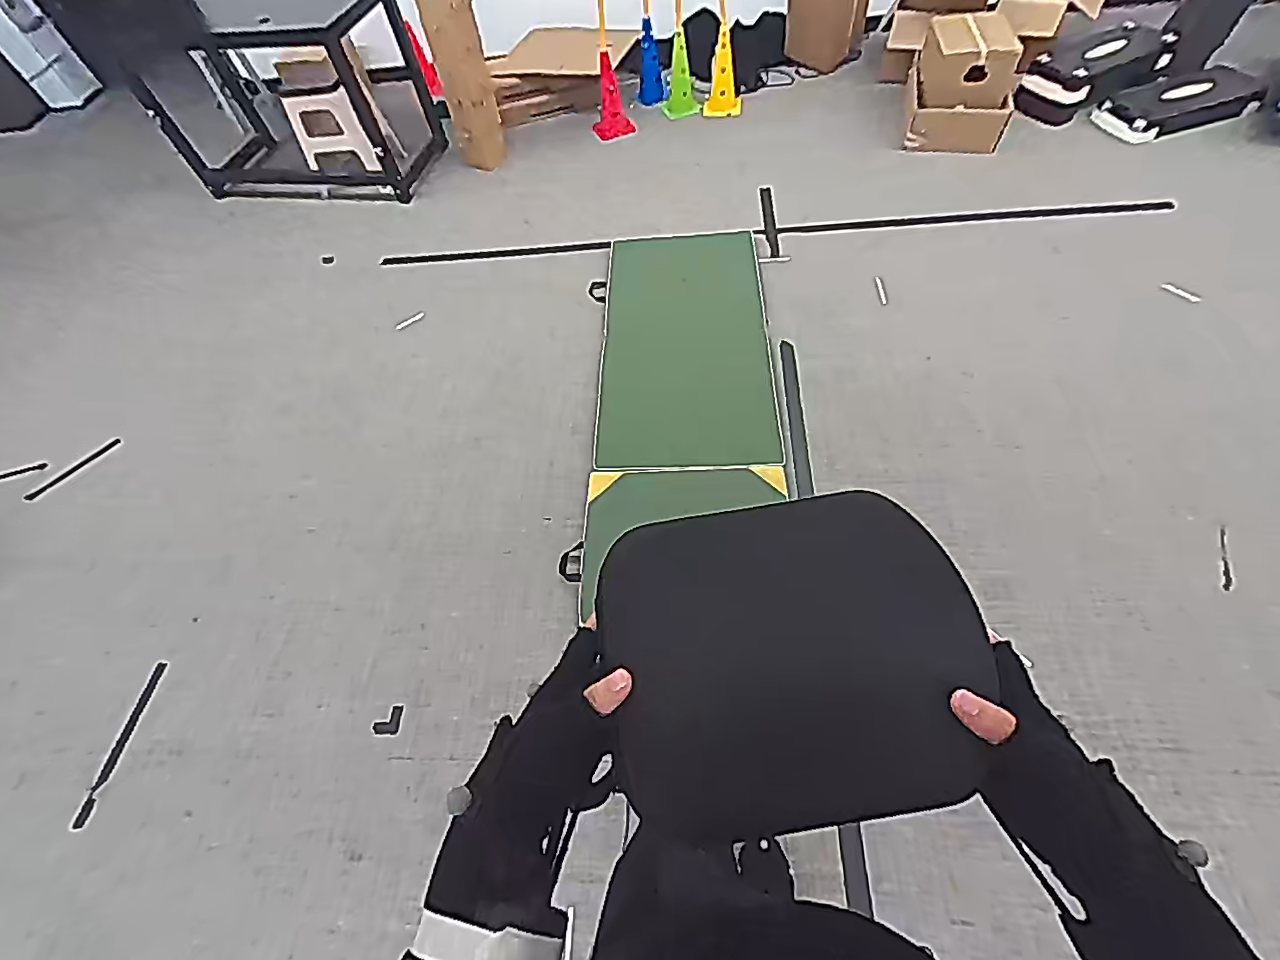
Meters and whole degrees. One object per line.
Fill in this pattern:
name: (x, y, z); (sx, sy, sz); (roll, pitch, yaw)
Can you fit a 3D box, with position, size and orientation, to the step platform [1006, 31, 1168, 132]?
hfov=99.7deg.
step platform: (2.153, -1.931, 2.608); (0.684, 0.204, 0.286); (-26, 59, -10)
